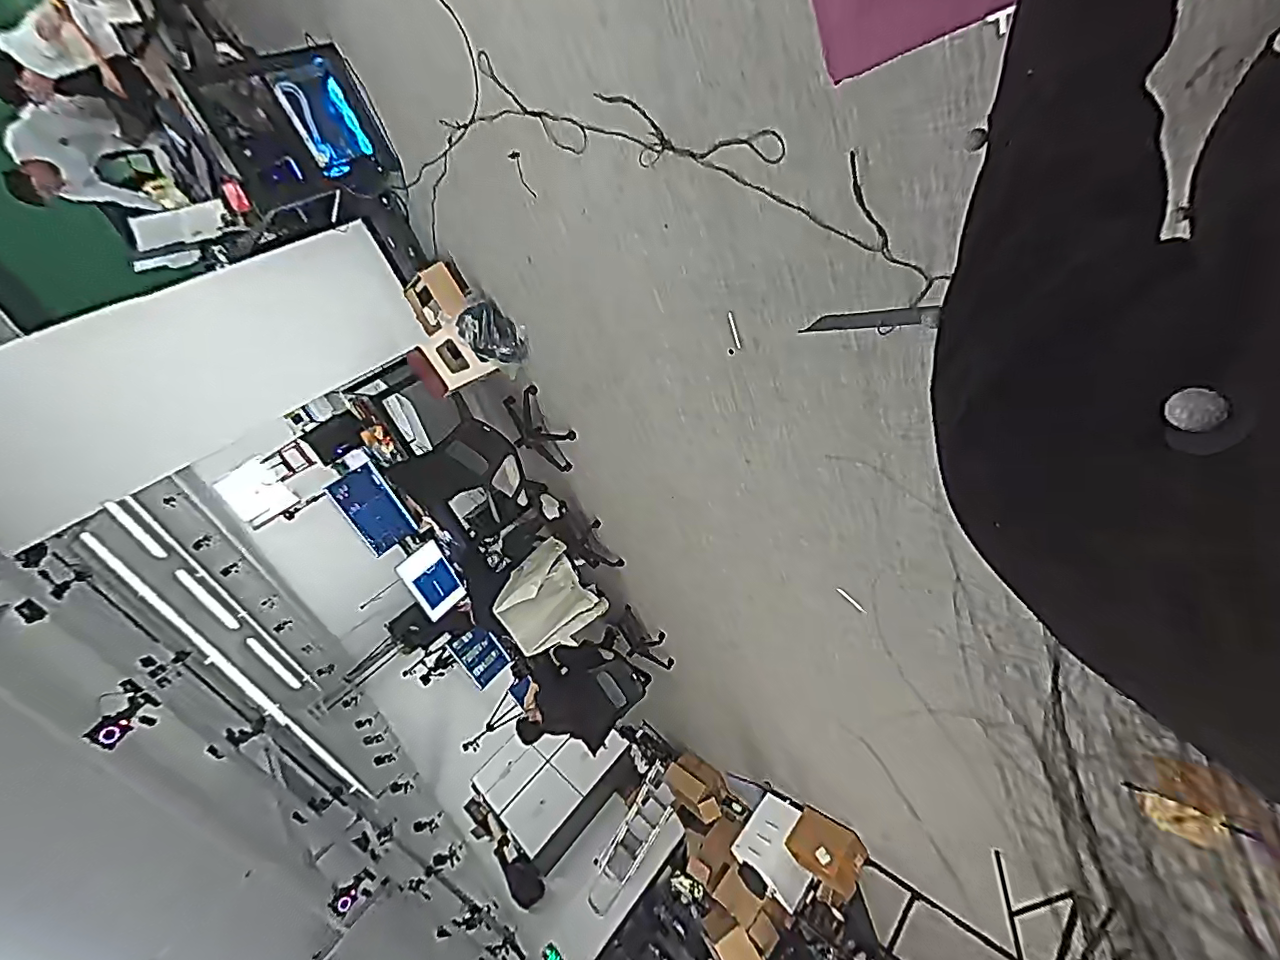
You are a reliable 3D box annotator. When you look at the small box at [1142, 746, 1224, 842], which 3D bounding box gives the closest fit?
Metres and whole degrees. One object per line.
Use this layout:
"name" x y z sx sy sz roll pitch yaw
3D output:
"small box" 1.743 1.001 1.738 0.168 0.176 0.179 10 134 50
